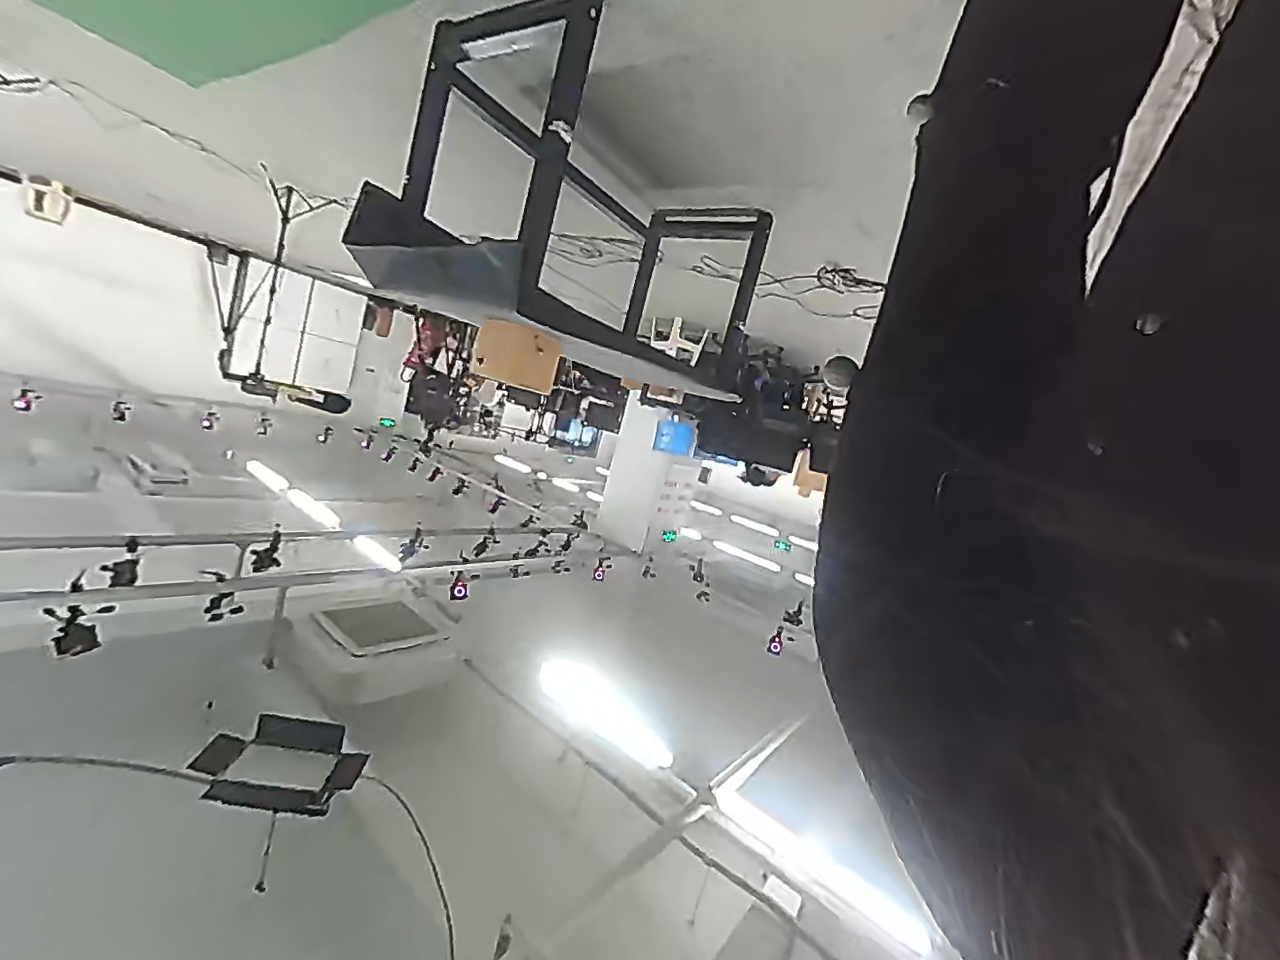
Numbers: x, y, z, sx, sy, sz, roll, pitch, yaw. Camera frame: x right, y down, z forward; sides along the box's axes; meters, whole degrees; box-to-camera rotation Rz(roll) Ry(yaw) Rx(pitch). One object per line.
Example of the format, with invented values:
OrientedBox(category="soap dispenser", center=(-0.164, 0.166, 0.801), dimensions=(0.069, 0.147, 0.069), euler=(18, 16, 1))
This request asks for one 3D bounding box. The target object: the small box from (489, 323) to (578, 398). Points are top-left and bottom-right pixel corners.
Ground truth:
OrientedBox(category="small box", center=(-0.304, -0.348, 1.566), dimensions=(0.179, 0.176, 0.168), euler=(20, -170, 36))
